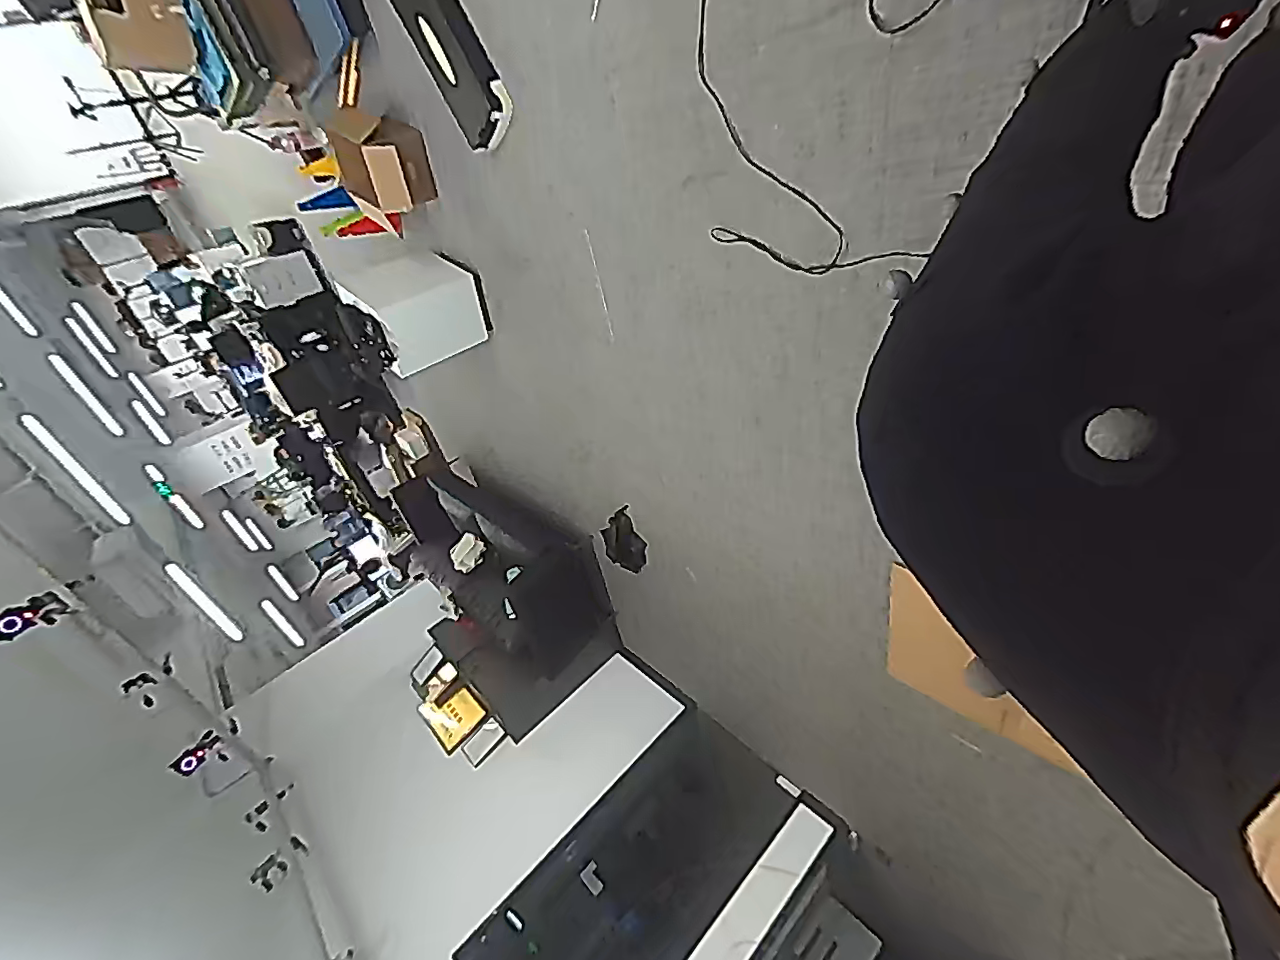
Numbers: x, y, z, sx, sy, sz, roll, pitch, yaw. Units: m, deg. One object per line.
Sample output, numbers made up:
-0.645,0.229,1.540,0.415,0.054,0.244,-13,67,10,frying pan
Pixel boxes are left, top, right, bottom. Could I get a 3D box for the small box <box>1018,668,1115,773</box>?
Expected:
1.217,0.680,1.543,0.168,0.176,0.179,22,137,43,small box
